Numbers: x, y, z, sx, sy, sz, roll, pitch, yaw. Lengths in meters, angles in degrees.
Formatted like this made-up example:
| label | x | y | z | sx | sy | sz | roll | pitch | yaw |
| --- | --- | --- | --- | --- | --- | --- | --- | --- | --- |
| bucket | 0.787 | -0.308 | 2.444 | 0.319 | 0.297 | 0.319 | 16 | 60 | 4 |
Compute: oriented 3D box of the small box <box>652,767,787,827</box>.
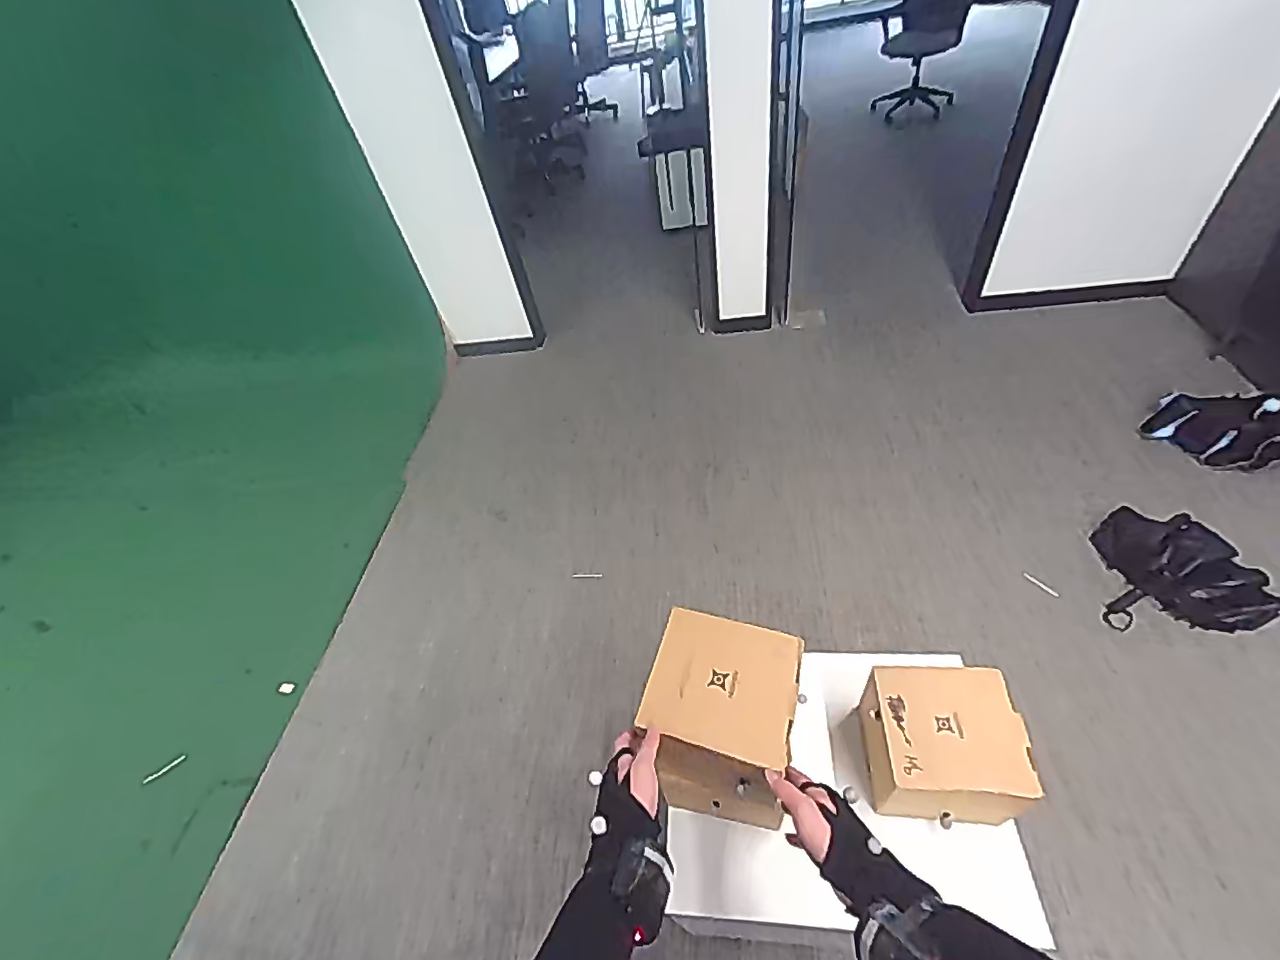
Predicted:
| label | x | y | z | sx | sy | sz | roll | pitch | yaw |
| --- | --- | --- | --- | --- | --- | --- | --- | --- | --- |
| small box | 0.126 | 0.402 | 0.817 | 0.179 | 0.176 | 0.168 | 5 | 48 | 14 |

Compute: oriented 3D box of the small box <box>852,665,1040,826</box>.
| label | x | y | z | sx | sy | sz | roll | pitch | yaw |
| --- | --- | --- | --- | --- | --- | --- | --- | --- | --- |
| small box | 0.424 | 0.387 | 0.786 | 0.179 | 0.176 | 0.168 | 0 | 47 | 9 |

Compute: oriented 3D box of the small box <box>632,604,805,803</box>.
| label | x | y | z | sx | sy | sz | roll | pitch | yaw |
| --- | --- | --- | --- | --- | --- | --- | --- | --- | --- |
| small box | 0.105 | 0.291 | 0.701 | 0.179 | 0.176 | 0.168 | 9 | 47 | 18 |
